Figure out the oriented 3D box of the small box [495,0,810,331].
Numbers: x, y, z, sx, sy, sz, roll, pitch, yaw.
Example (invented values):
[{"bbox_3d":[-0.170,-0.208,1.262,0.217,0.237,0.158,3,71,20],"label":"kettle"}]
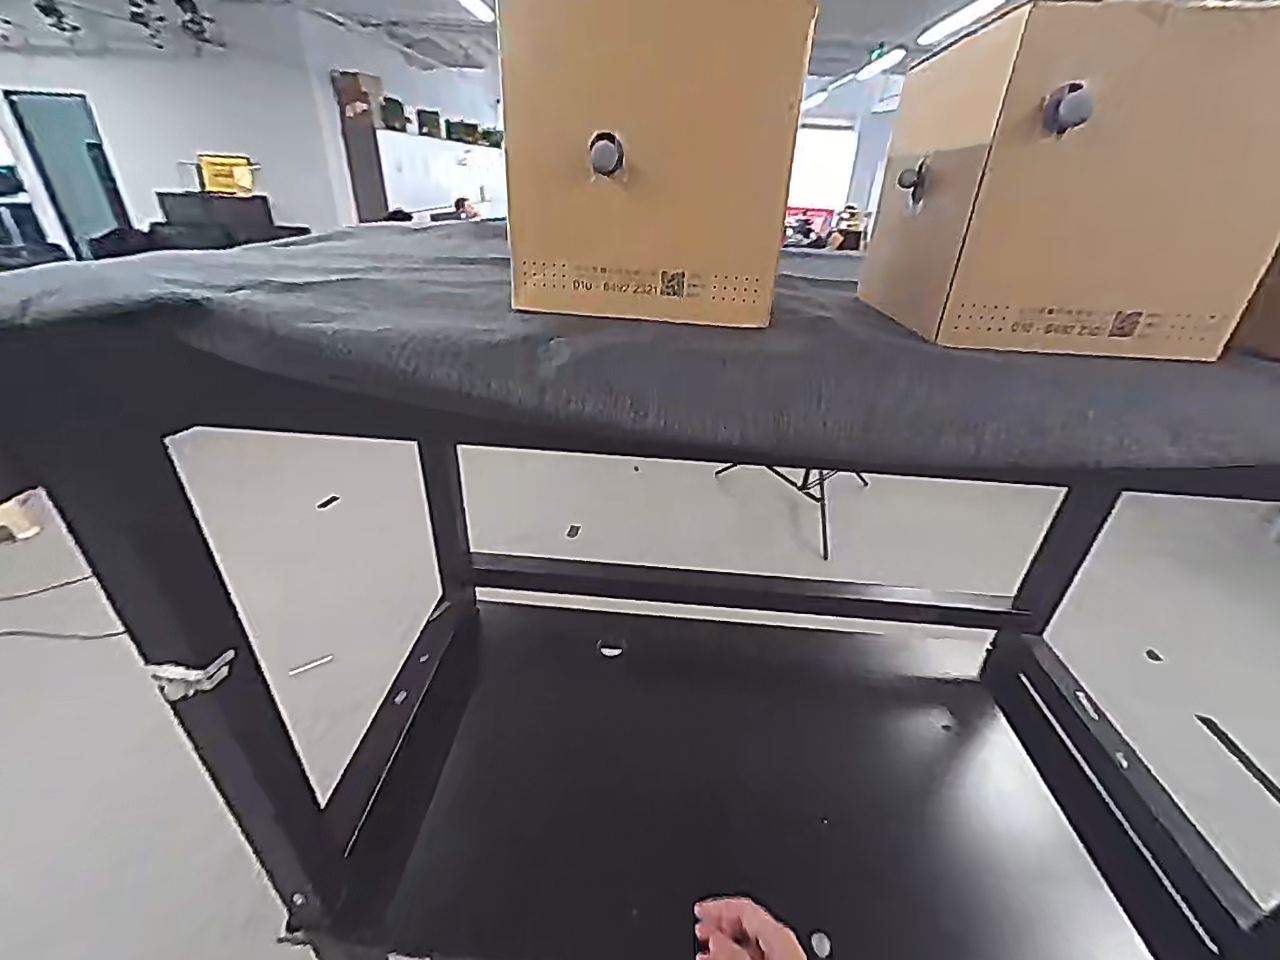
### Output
[{"bbox_3d":[0.011,-0.209,0.384,0.168,0.176,0.179,5,28,4],"label":"small box"}]
